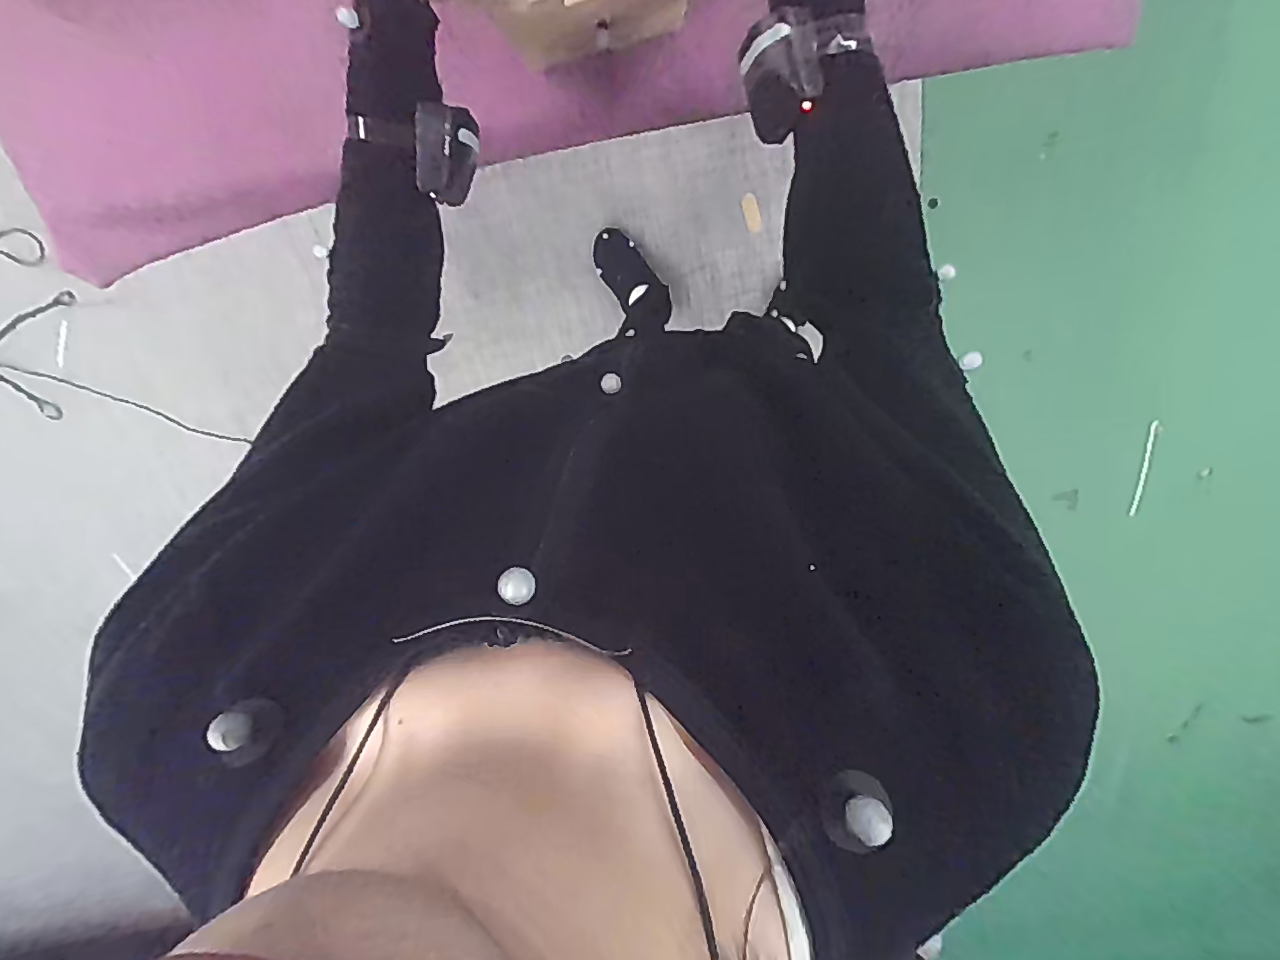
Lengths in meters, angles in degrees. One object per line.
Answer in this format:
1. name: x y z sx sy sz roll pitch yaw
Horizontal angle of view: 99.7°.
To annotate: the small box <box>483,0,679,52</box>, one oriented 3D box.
1. small box: -0.057 -0.485 0.442 0.168 0.176 0.179 -12 116 6
